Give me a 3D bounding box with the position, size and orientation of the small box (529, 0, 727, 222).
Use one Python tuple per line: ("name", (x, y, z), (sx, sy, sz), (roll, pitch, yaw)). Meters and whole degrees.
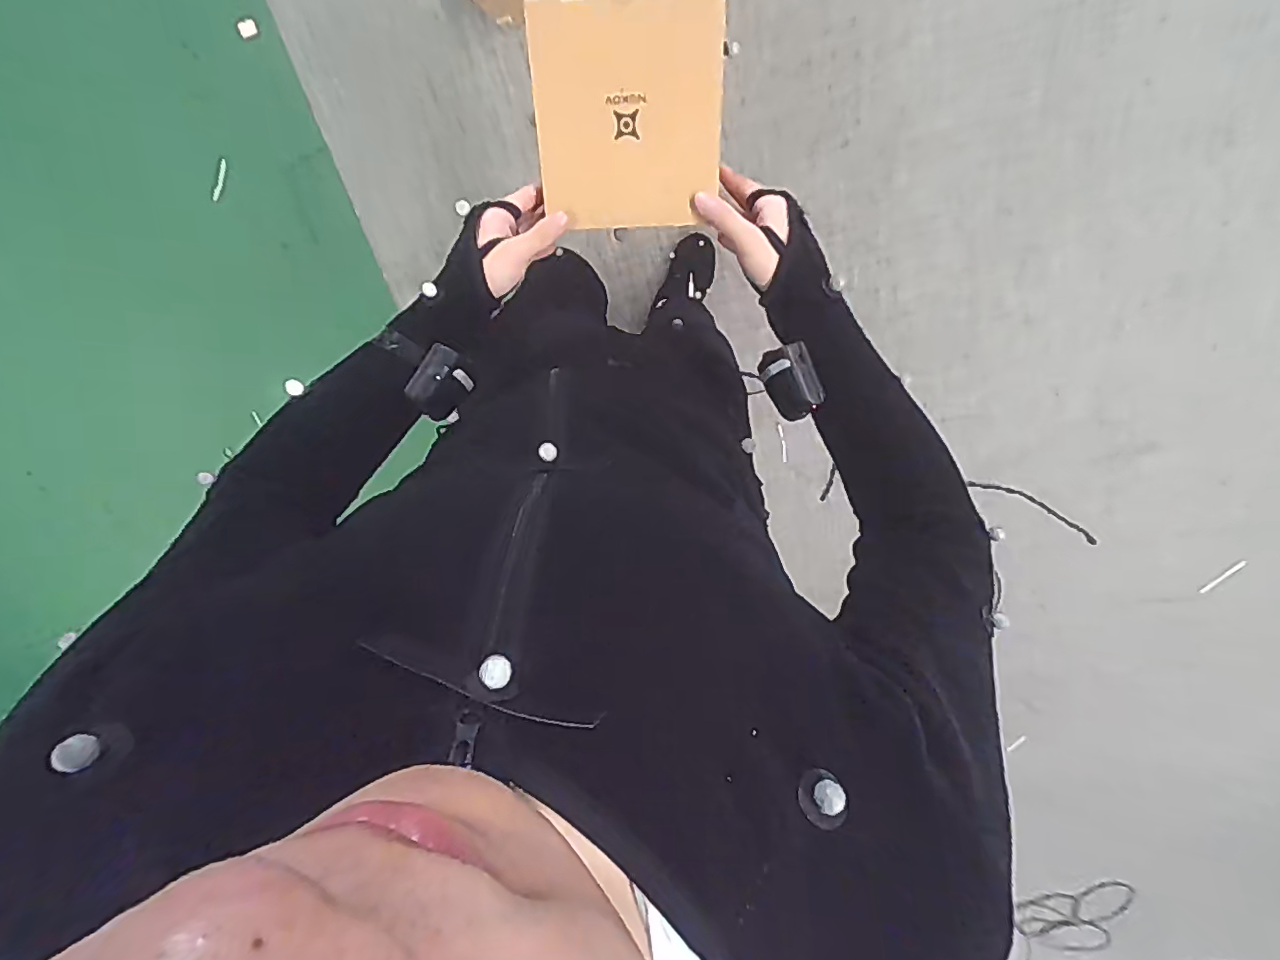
("small box", (0.002, -0.365, 0.545), (0.168, 0.176, 0.179), (1, 118, 8))
